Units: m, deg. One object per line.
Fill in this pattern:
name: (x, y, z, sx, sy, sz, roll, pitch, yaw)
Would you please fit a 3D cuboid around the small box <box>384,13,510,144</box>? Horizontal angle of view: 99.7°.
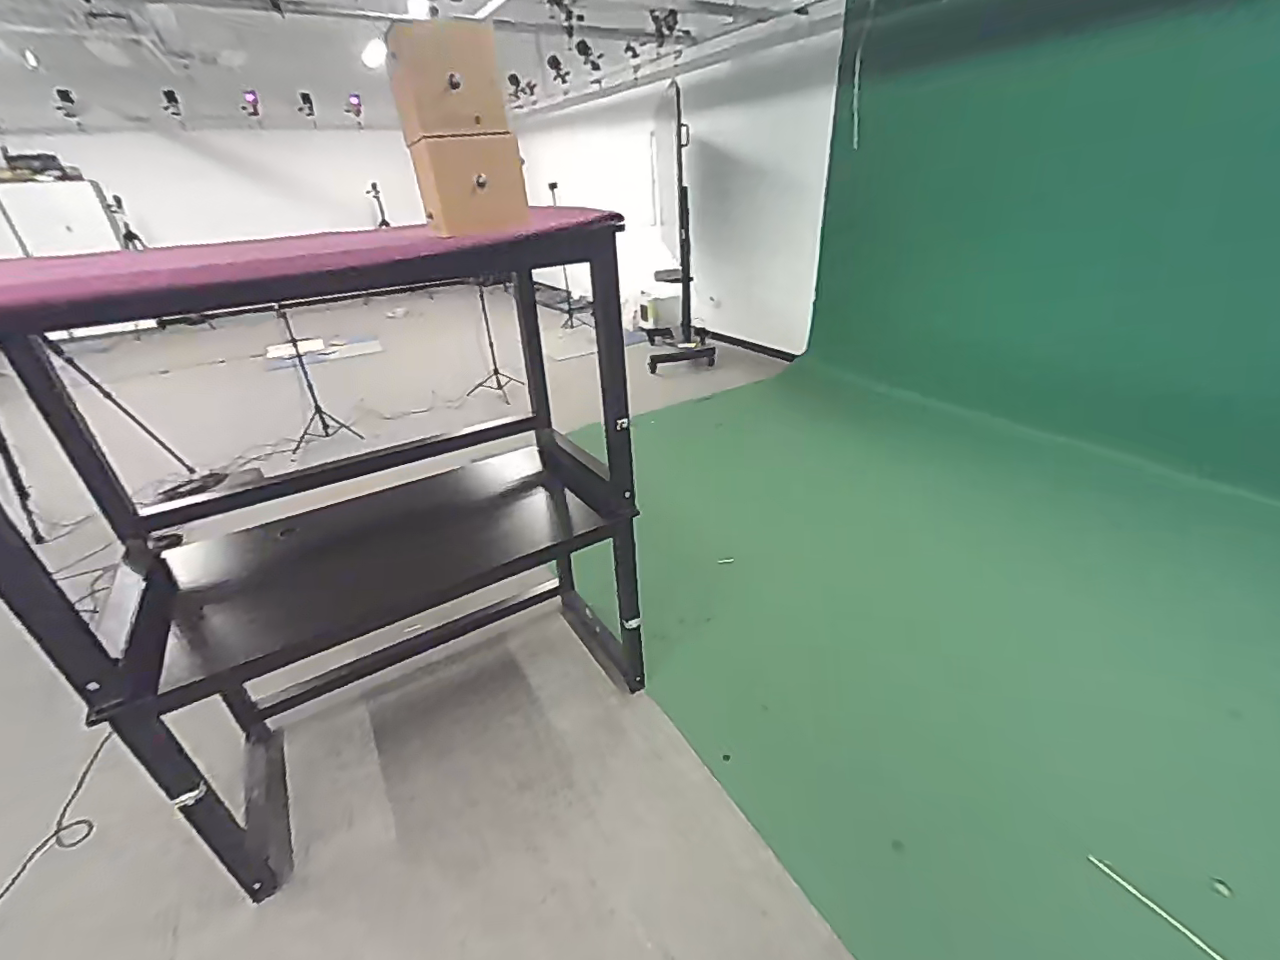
small box: (-0.355, -0.737, 1.005, 0.168, 0.176, 0.179, -20, 31, -24)
